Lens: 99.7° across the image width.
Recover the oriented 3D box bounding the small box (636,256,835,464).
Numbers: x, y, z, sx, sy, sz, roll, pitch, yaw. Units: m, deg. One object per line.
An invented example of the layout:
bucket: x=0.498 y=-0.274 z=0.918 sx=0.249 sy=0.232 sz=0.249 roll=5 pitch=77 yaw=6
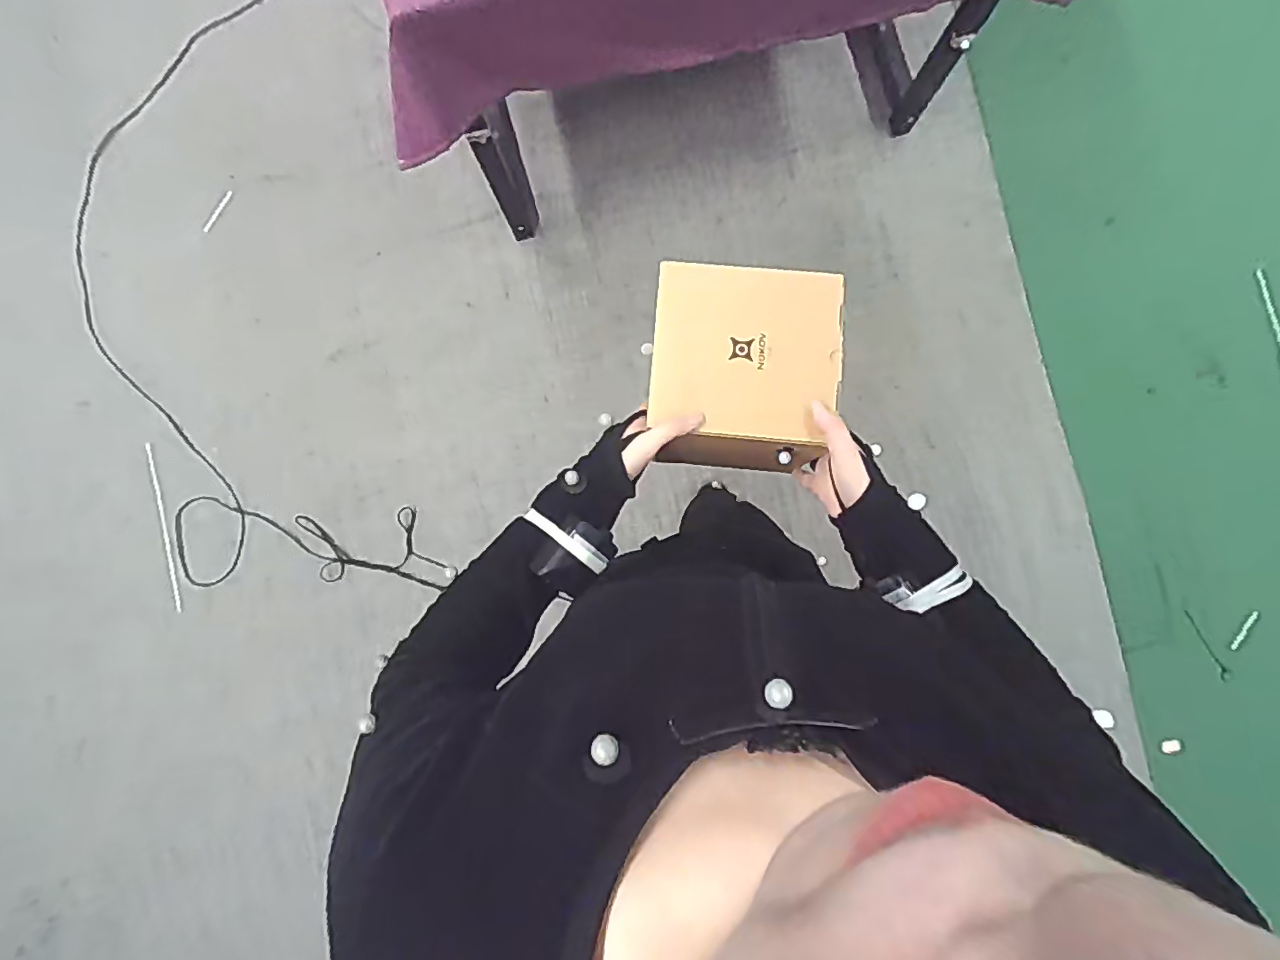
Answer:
small box: x=0.093 y=-0.115 z=0.580 sx=0.179 sy=0.176 sz=0.168 roll=5 pitch=82 yaw=2
